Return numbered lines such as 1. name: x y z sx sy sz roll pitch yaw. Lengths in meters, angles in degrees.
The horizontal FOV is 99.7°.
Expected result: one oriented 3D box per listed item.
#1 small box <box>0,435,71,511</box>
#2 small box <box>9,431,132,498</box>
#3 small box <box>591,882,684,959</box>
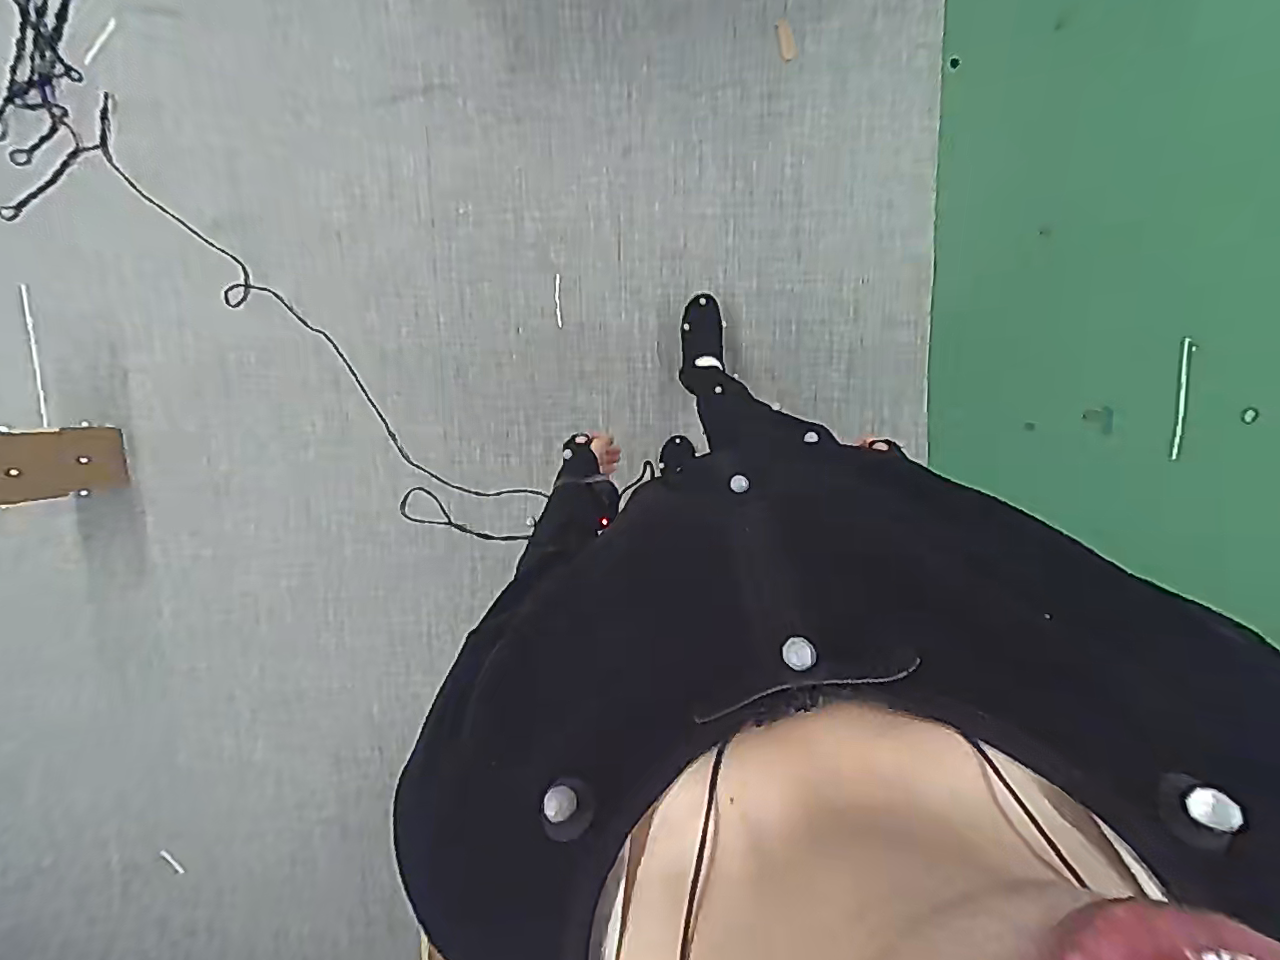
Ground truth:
1. small box: -1.580 -0.020 1.342 0.168 0.176 0.179 -2 95 2
2. small box: -1.572 -0.046 1.504 0.168 0.176 0.179 -2 95 3
3. small box: -0.002 0.953 1.086 0.179 0.176 0.168 2 95 3
